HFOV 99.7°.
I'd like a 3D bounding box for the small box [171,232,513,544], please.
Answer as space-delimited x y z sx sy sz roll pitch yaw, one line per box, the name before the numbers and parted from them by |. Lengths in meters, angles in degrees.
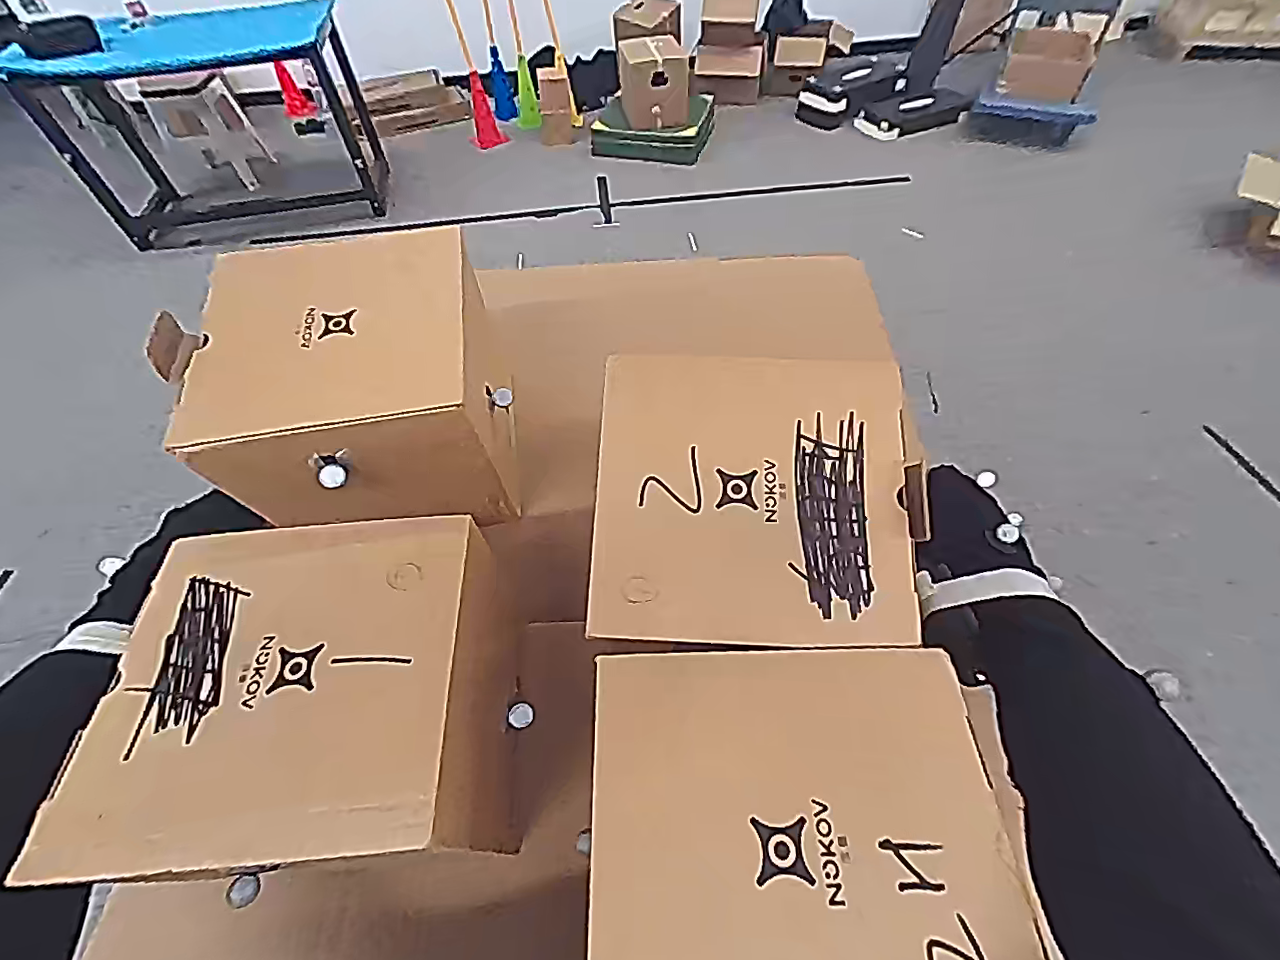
small box | -0.204 -0.063 0.432 0.179 0.176 0.168 -9 62 -3
